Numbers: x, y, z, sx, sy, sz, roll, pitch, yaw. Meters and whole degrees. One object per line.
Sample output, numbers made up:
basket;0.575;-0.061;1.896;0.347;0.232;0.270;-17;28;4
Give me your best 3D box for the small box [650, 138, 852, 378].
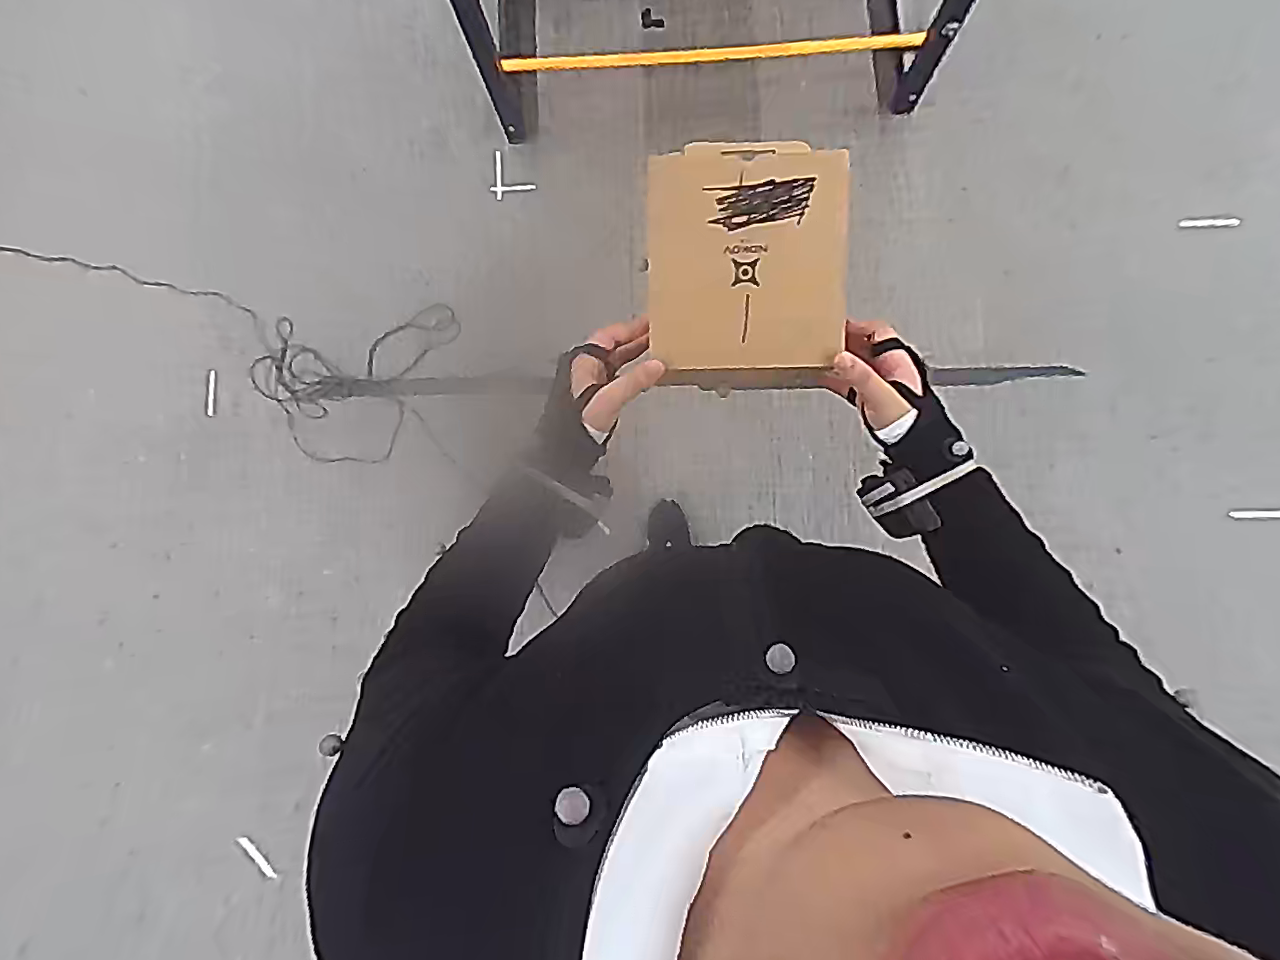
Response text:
small box;0.093;-0.196;0.525;0.168;0.176;0.179;-1;95;2
